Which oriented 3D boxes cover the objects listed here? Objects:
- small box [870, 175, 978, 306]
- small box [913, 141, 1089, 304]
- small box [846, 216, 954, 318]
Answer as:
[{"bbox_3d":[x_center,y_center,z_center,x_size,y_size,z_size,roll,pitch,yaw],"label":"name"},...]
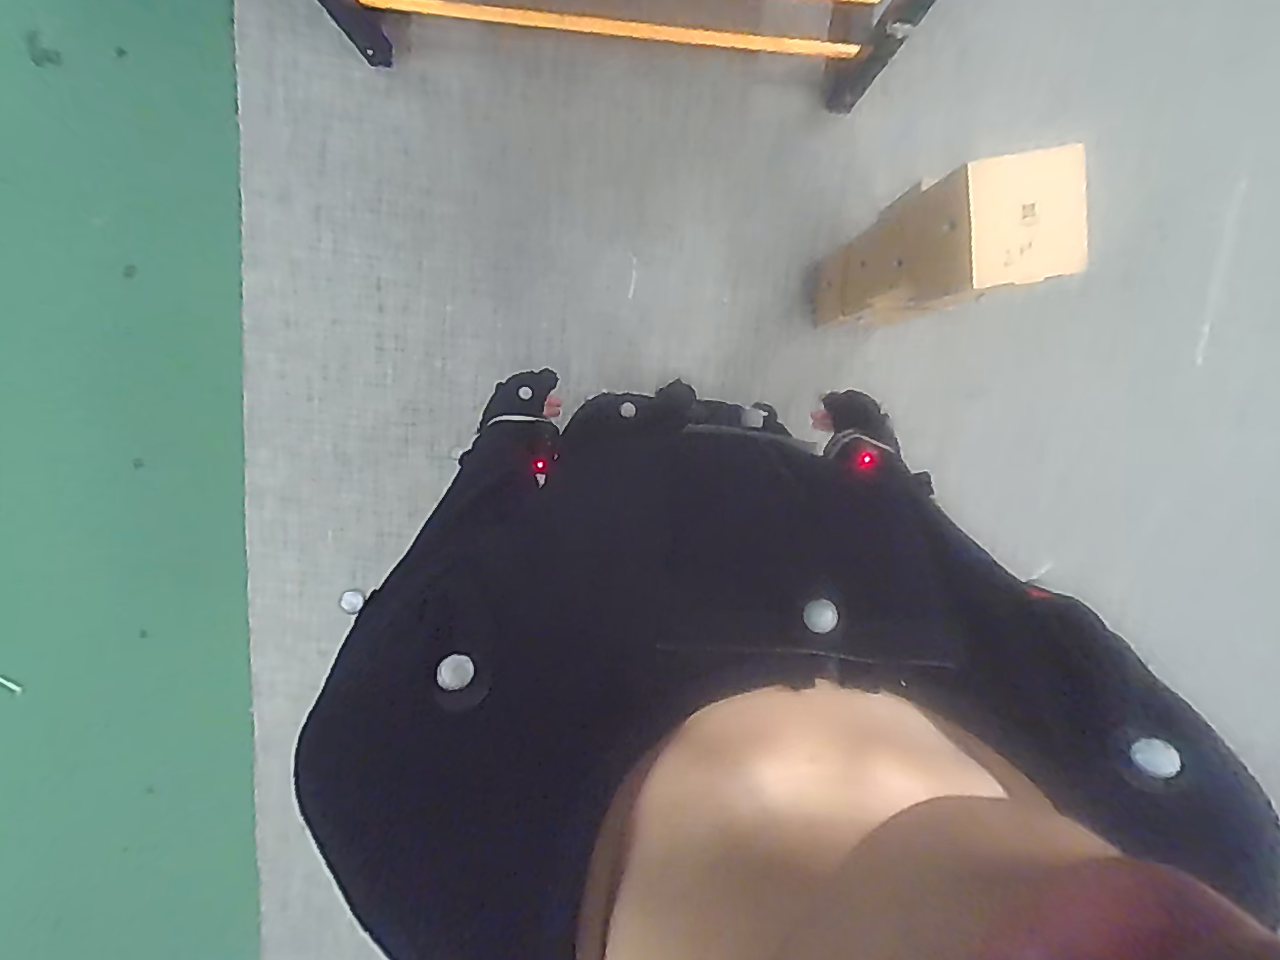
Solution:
[{"bbox_3d":[0.543,-0.428,0.990,0.168,0.176,0.179,5,100,-1],"label":"small box"},{"bbox_3d":[0.542,-0.382,0.832,0.168,0.176,0.179,-8,100,2],"label":"small box"},{"bbox_3d":[0.555,-0.447,1.152,0.168,0.176,0.179,2,98,-1],"label":"small box"}]
